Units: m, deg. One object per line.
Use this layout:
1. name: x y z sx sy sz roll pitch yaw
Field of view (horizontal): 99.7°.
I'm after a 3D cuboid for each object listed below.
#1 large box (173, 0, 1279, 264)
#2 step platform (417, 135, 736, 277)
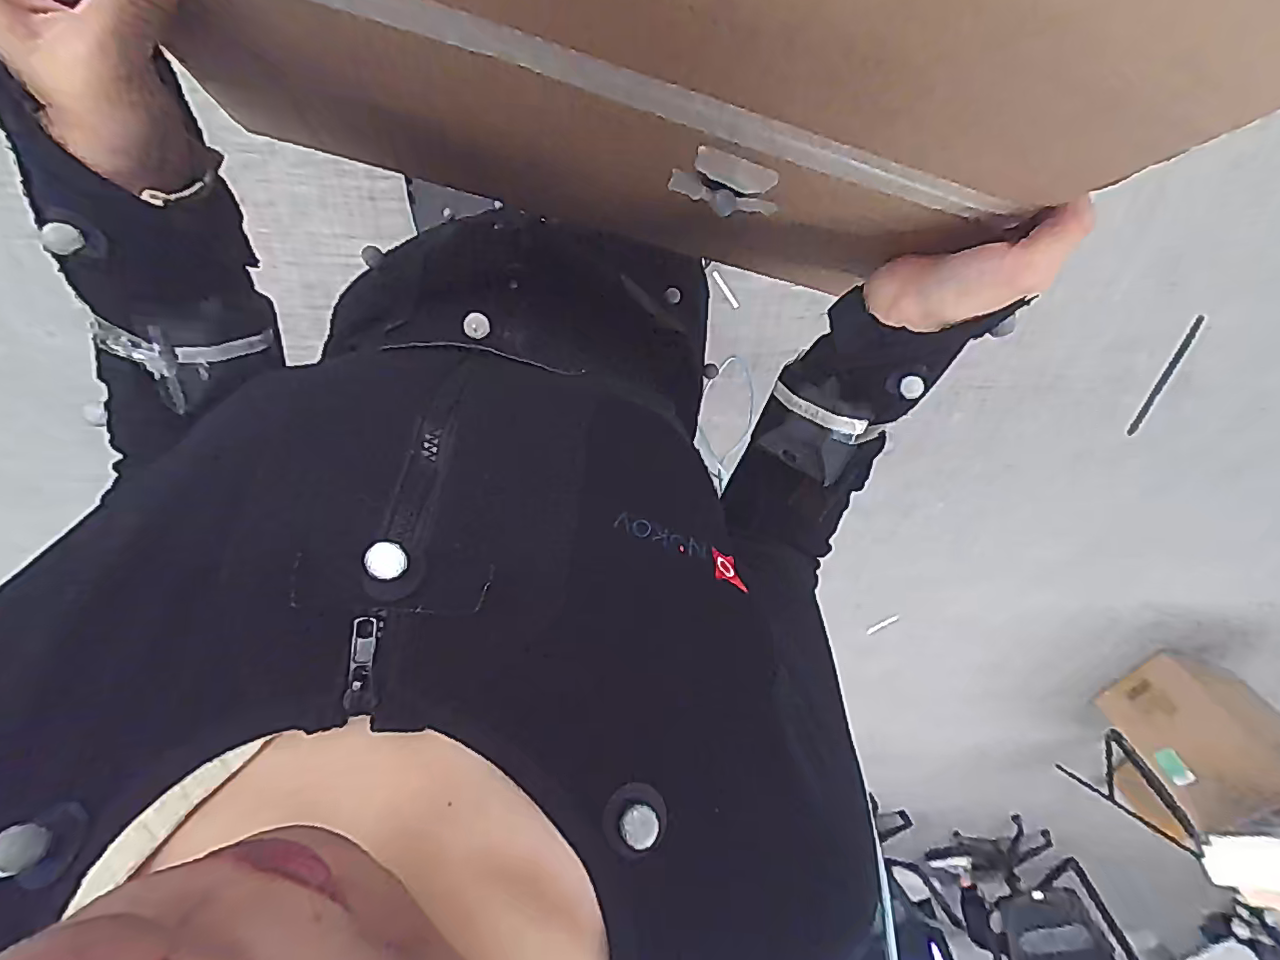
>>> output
1. large box: 0.032 -0.318 0.180 0.408 0.320 0.320 10 93 -12
2. step platform: -0.120 -0.648 1.183 0.684 0.204 0.286 5 125 -8
